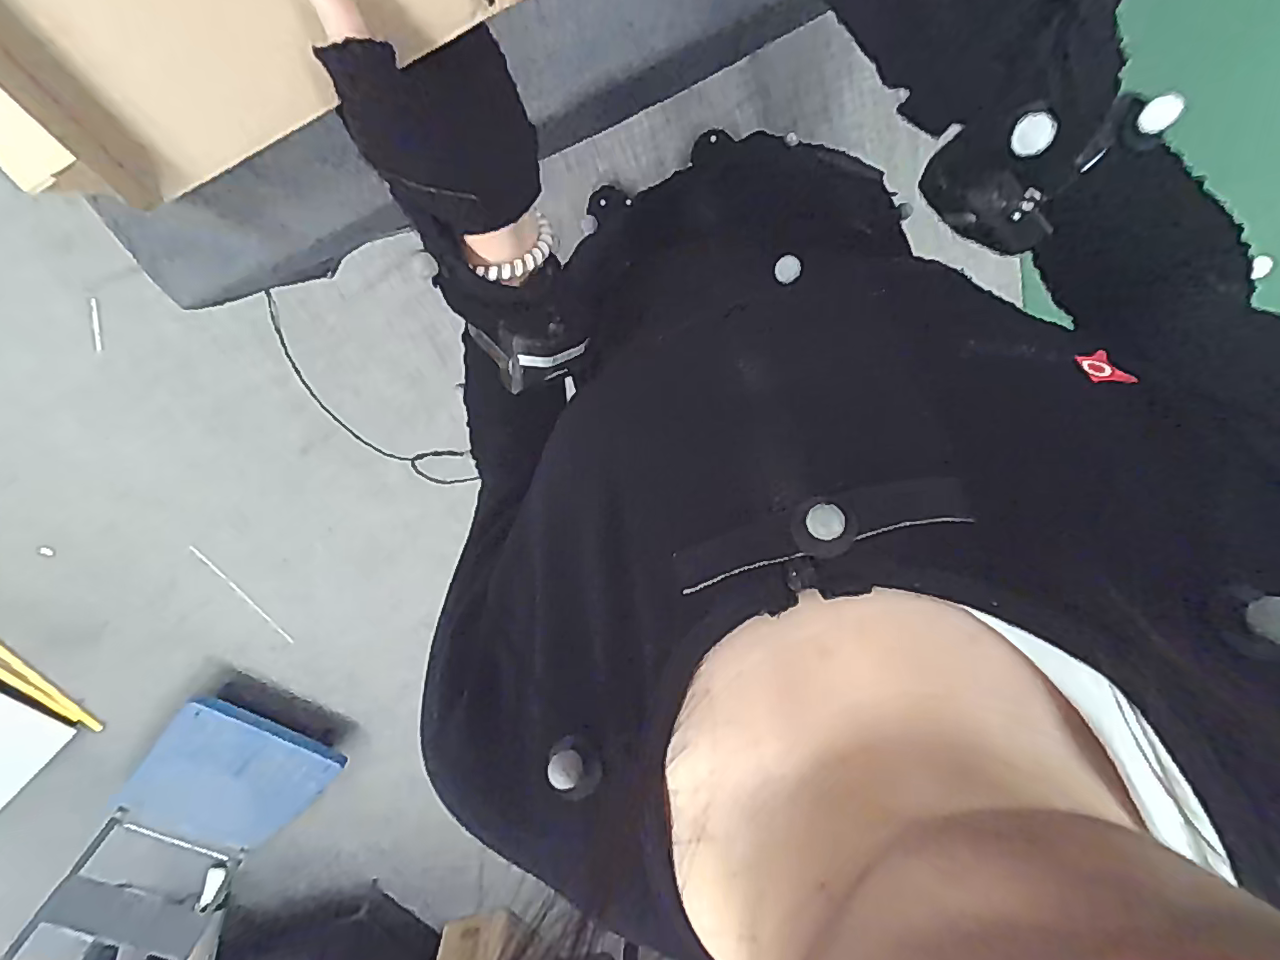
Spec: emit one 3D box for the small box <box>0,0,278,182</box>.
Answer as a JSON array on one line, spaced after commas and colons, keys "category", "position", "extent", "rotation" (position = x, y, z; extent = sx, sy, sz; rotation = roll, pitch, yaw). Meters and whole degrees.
[{"category": "small box", "position": [-0.474, -0.381, 0.466], "extent": [0.168, 0.176, 0.179], "rotation": [-22, 118, 11]}]
